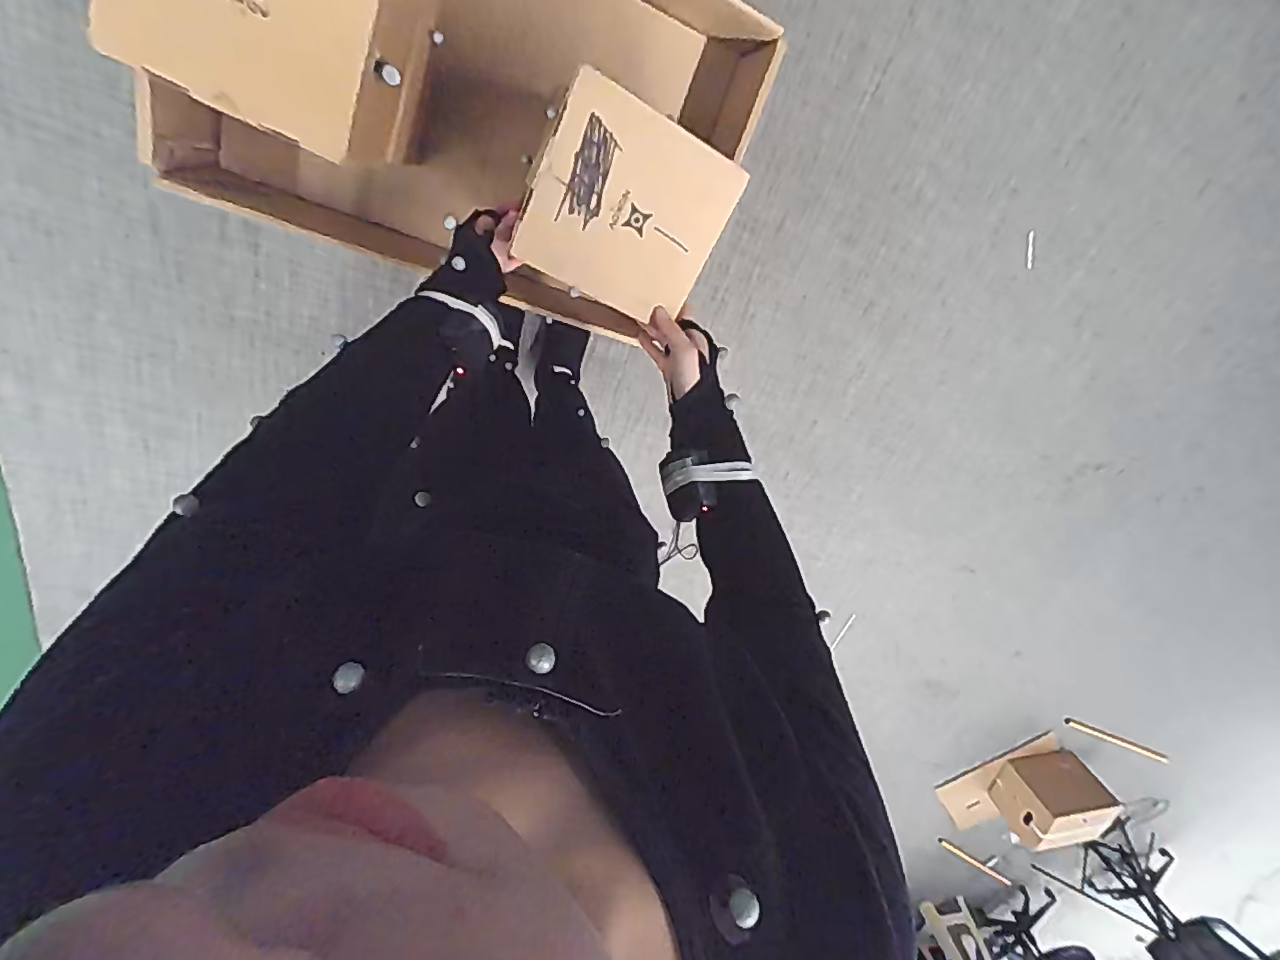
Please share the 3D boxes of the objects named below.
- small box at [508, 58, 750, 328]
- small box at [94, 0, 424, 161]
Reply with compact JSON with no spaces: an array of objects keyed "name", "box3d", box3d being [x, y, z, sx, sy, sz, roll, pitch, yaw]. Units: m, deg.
[{"name":"small box","box3d":[-0.023,-0.287,0.565,0.179,0.176,0.168,21,114,-21]},{"name":"small box","box3d":[-0.289,-0.394,0.445,0.168,0.176,0.179,19,115,-22]}]
